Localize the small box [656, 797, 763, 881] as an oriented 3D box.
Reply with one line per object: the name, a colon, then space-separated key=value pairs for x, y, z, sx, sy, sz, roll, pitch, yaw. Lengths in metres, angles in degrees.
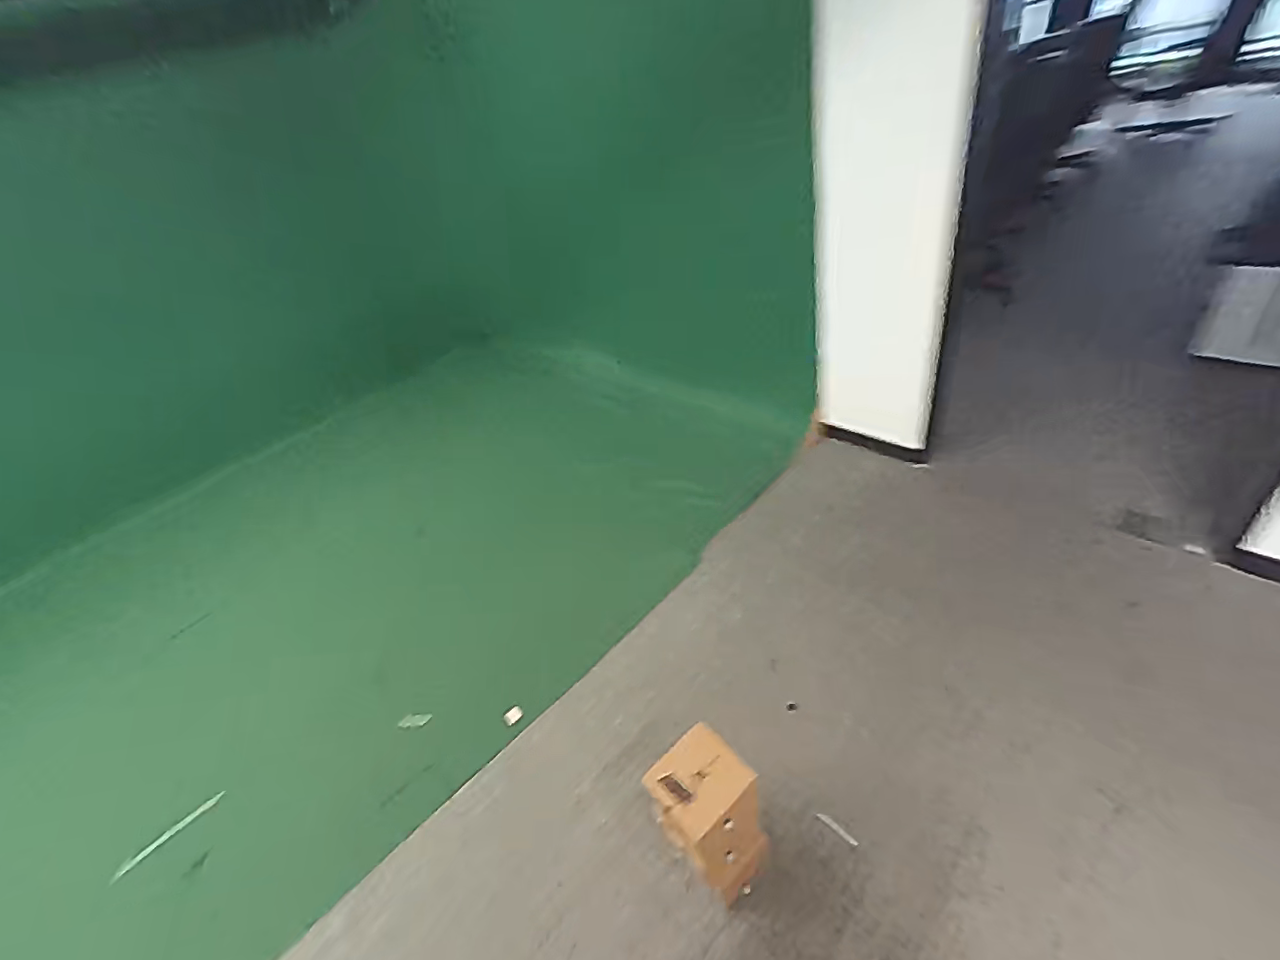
small box: x=0.167 y=0.778 z=1.253 sx=0.179 sy=0.176 sz=0.168 roll=-36 pitch=43 yaw=-20

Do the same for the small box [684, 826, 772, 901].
small box: x=0.209 y=0.900 z=1.354 sx=0.168 sy=0.176 sz=0.179 roll=-35 pitch=43 yaw=-20

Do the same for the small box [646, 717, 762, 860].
small box: x=0.142 y=0.655 z=1.147 sx=0.179 sy=0.176 sz=0.168 roll=-35 pitch=42 yaw=-22
